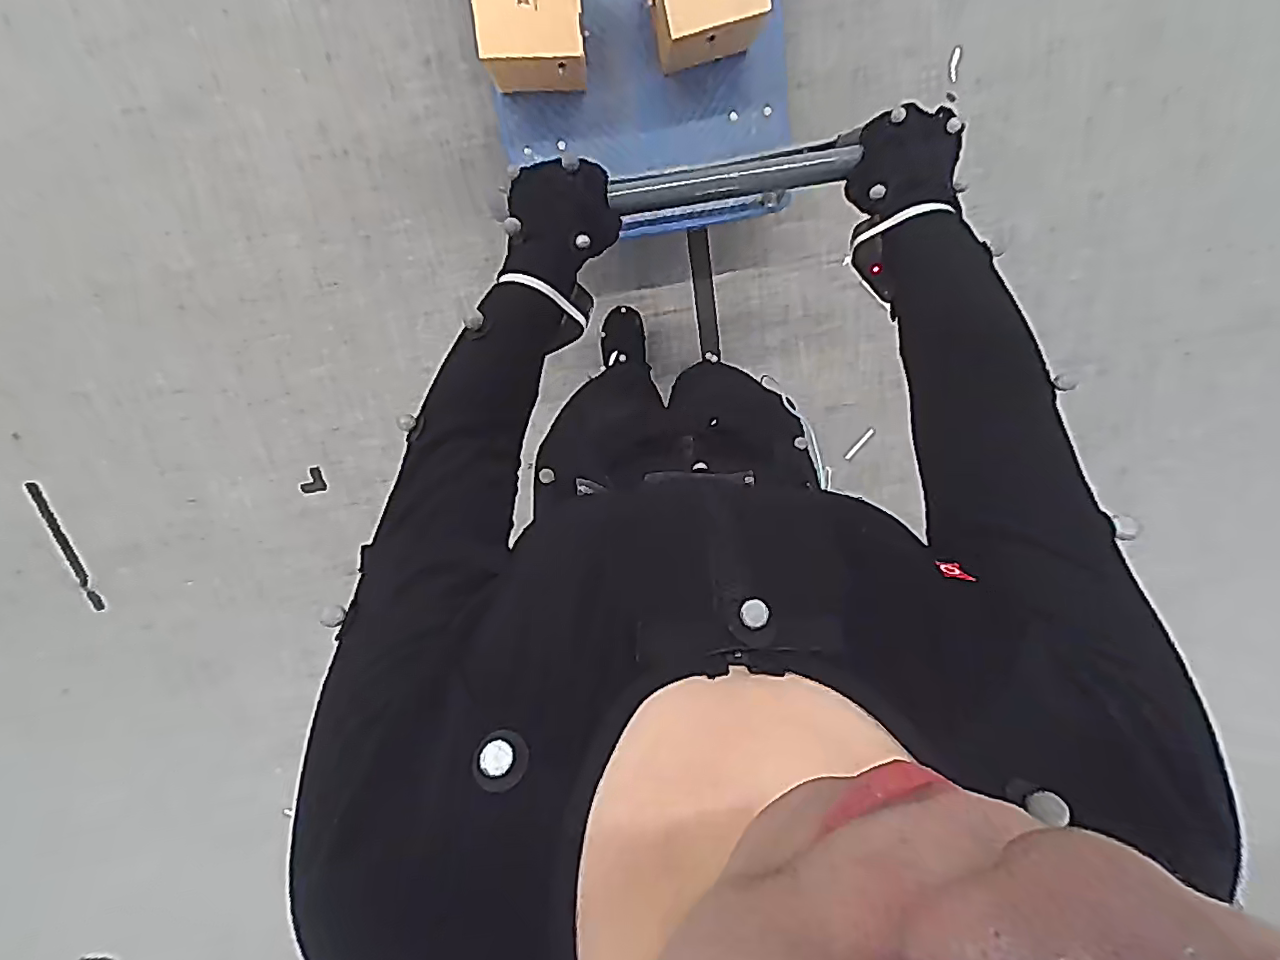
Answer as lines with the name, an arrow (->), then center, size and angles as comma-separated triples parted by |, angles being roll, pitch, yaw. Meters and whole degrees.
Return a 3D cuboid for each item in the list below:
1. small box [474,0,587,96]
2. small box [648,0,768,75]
small box -> -0.189, -0.804, 0.958 | 0.179, 0.176, 0.168 | -5, 110, -3
small box -> 0.110, -0.856, 0.957 | 0.179, 0.176, 0.168 | -15, 111, 2
